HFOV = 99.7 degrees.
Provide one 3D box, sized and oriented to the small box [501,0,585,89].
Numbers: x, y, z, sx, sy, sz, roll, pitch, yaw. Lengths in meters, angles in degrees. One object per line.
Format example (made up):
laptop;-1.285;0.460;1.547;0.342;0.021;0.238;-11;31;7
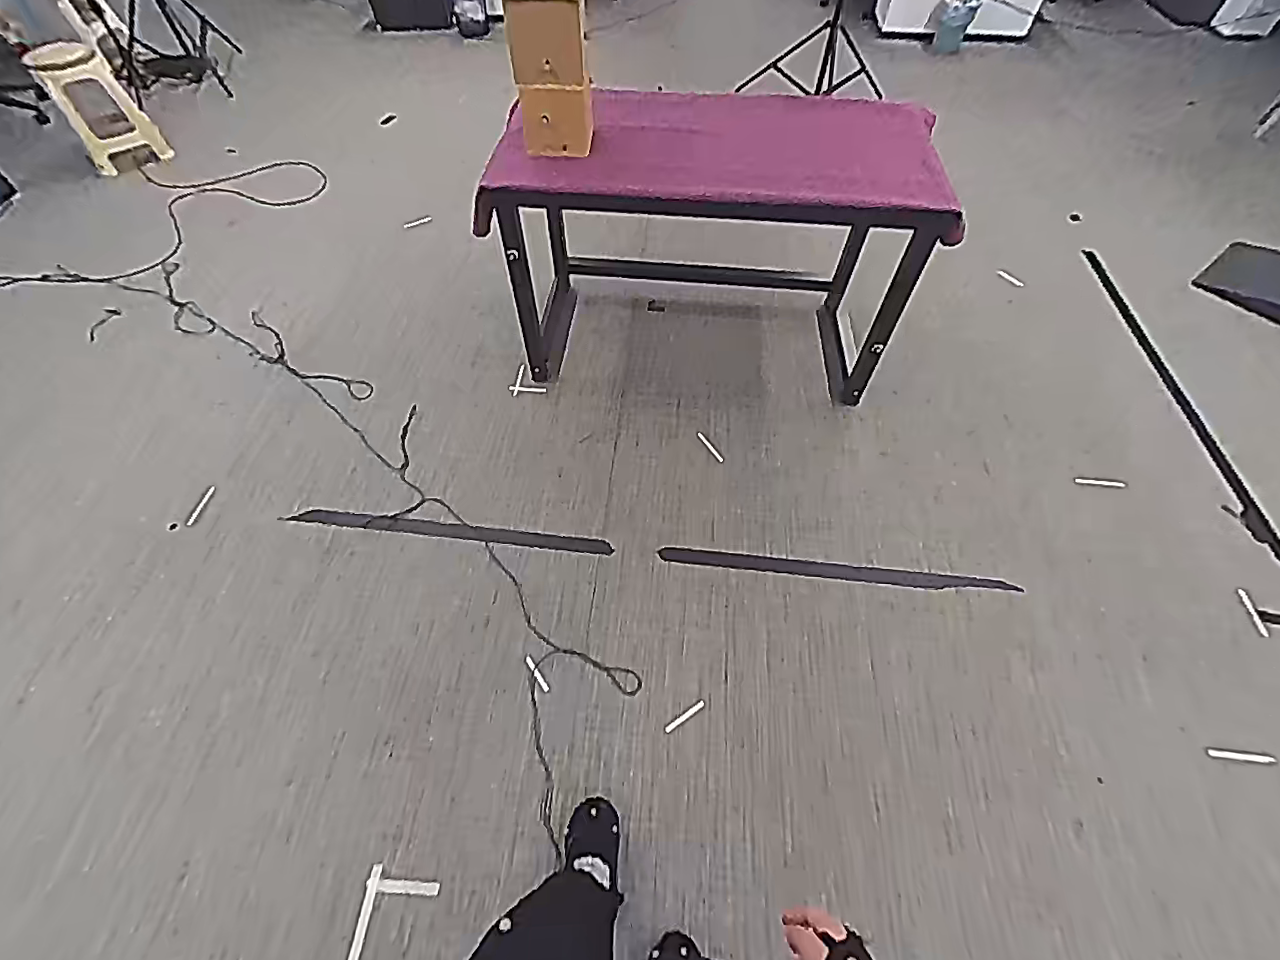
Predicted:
small box;-0.227;-1.082;1.320;0.179;0.176;0.168;0;55;-1

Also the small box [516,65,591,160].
small box;-0.223;-0.983;1.451;0.168;0.176;0.179;1;55;1
